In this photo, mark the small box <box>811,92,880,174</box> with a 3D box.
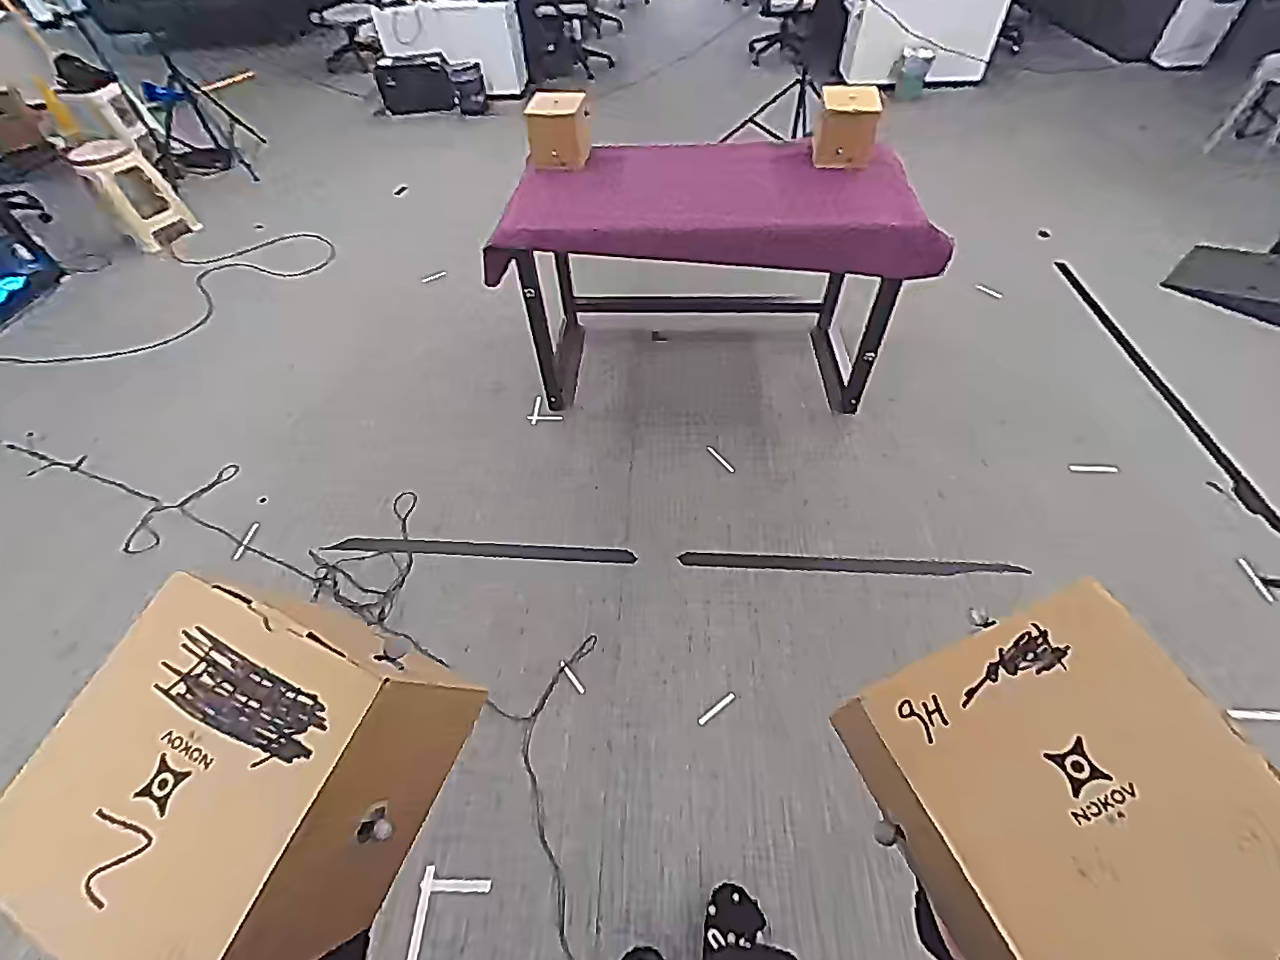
[{"bbox_3d":[0.648,-1.106,1.724,0.168,0.176,0.179,5,56,7],"label":"small box"}]

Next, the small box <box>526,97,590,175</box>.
[{"bbox_3d":[-0.265,-1.140,1.793,0.168,0.176,0.179,4,54,6],"label":"small box"}]

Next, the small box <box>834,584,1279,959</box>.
[{"bbox_3d":[0.254,0.199,0.363,0.168,0.176,0.179,-26,62,-1],"label":"small box"}]
